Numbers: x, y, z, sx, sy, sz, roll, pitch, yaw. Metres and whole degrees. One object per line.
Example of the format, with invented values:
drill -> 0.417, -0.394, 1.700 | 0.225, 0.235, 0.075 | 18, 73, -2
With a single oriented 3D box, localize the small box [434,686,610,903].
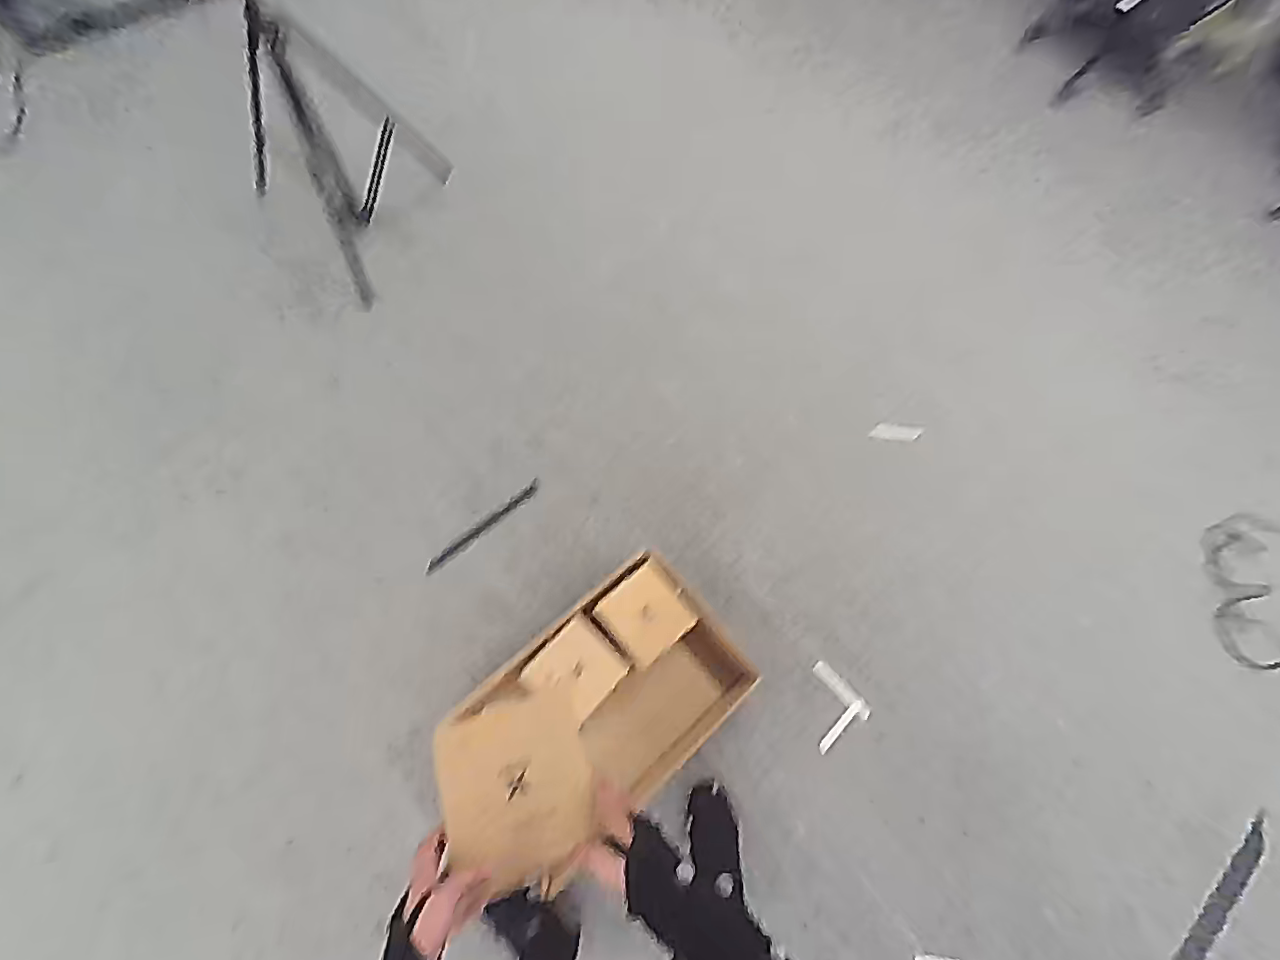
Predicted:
small box -> -0.142, 0.387, 0.667 | 0.168, 0.176, 0.179 | -15, 56, -14

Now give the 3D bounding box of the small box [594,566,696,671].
small box -> 0.004, 0.335, 1.289 | 0.168, 0.176, 0.179 | -39, 79, -16
